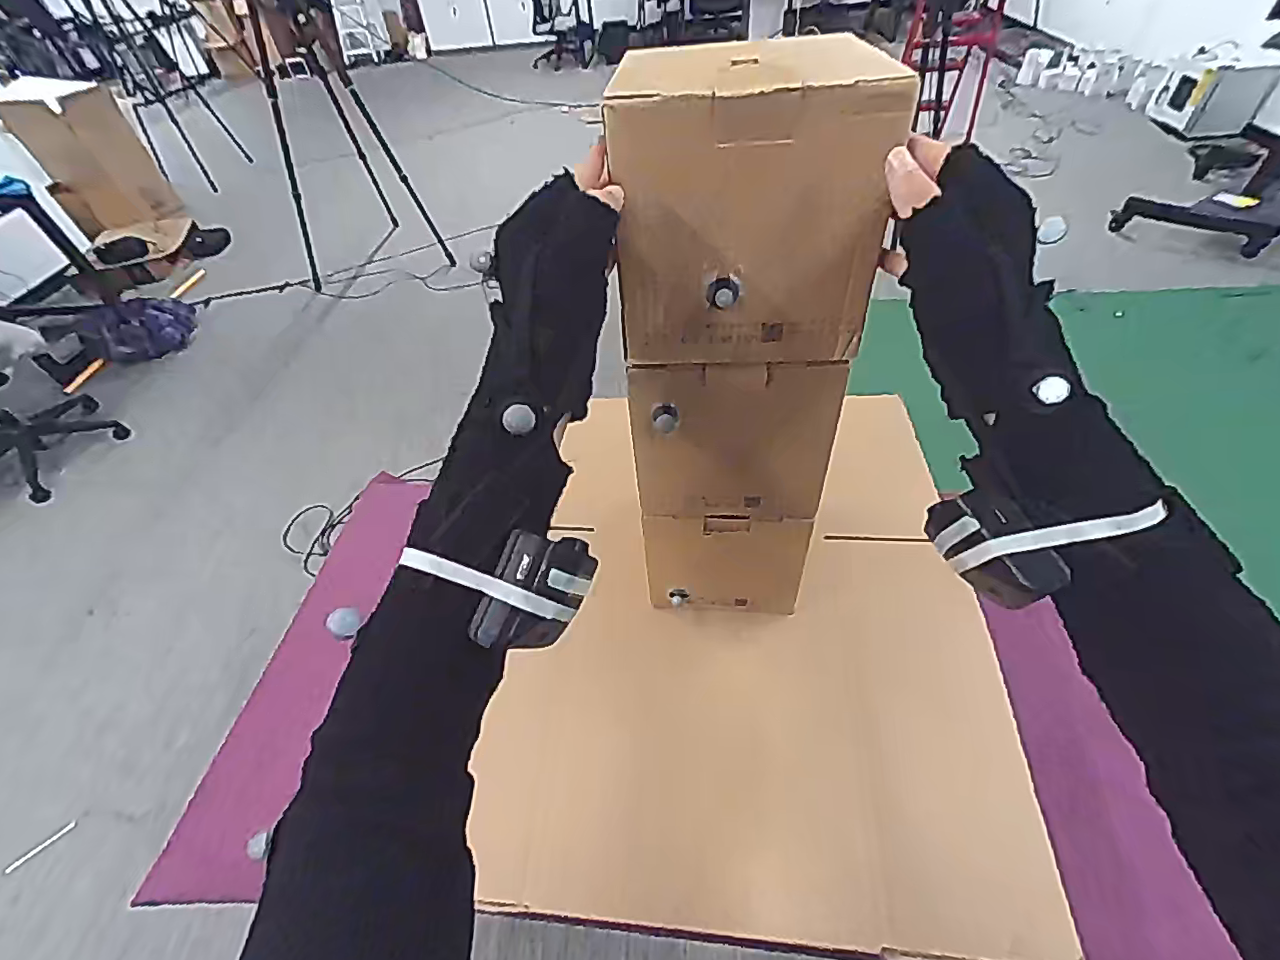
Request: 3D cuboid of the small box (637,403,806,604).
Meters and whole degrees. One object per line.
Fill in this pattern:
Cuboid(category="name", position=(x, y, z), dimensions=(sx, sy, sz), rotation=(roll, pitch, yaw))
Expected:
Cuboid(category="small box", position=(0.093, 0.029, 0.632), dimensions=(0.168, 0.176, 0.179), rotation=(1, 46, 7))

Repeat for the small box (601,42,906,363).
Cuboid(category="small box", position=(0.069, -0.205, 0.404), dimensions=(0.168, 0.176, 0.179), rotation=(-1, 46, 5))
